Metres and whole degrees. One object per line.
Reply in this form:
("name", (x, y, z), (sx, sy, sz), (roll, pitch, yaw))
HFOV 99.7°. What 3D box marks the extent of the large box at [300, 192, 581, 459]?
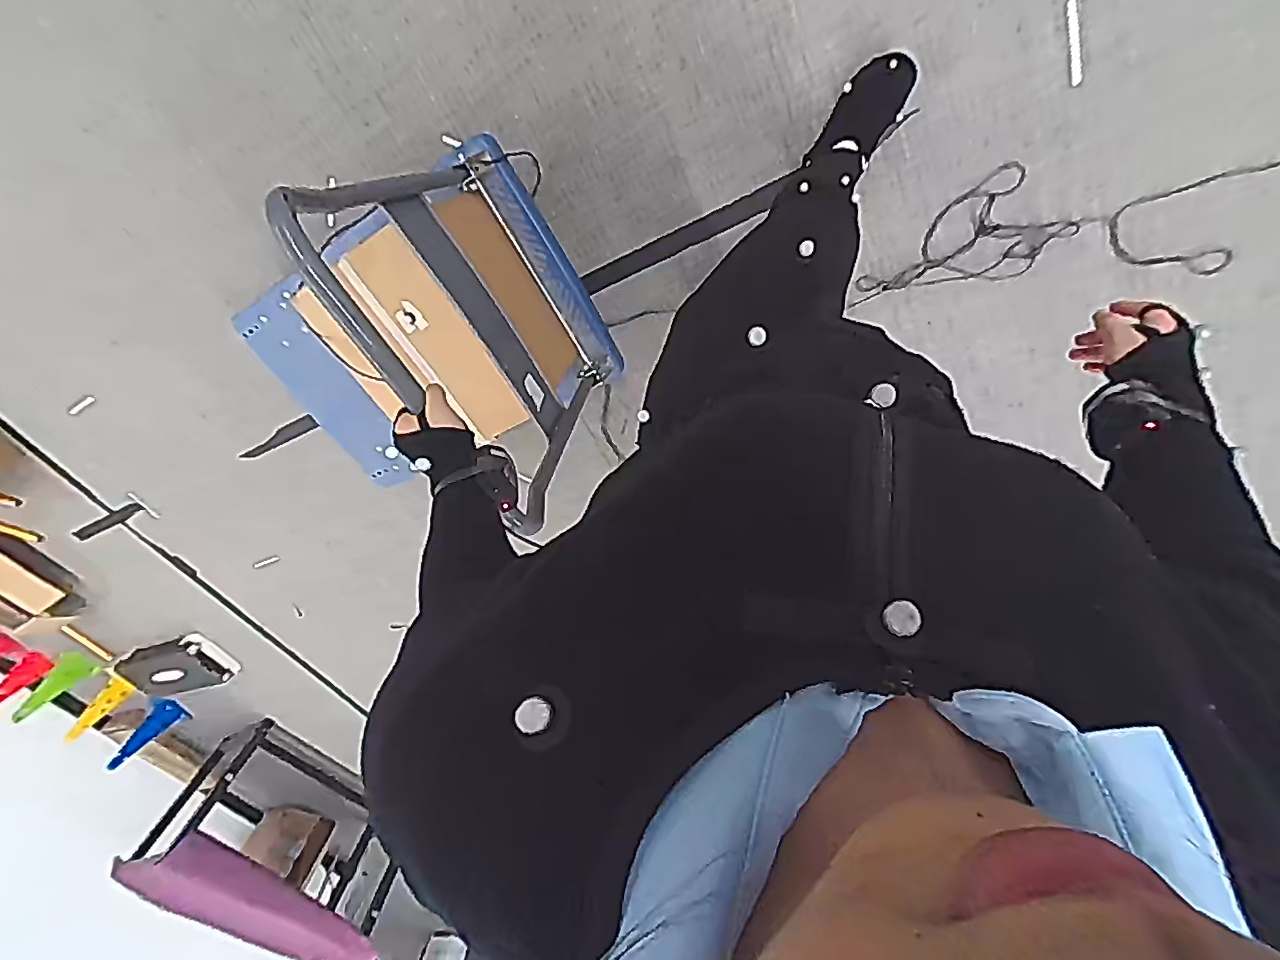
("large box", (-0.385, -0.325, 1.154), (0.320, 0.320, 0.408), (-21, 118, 22))
